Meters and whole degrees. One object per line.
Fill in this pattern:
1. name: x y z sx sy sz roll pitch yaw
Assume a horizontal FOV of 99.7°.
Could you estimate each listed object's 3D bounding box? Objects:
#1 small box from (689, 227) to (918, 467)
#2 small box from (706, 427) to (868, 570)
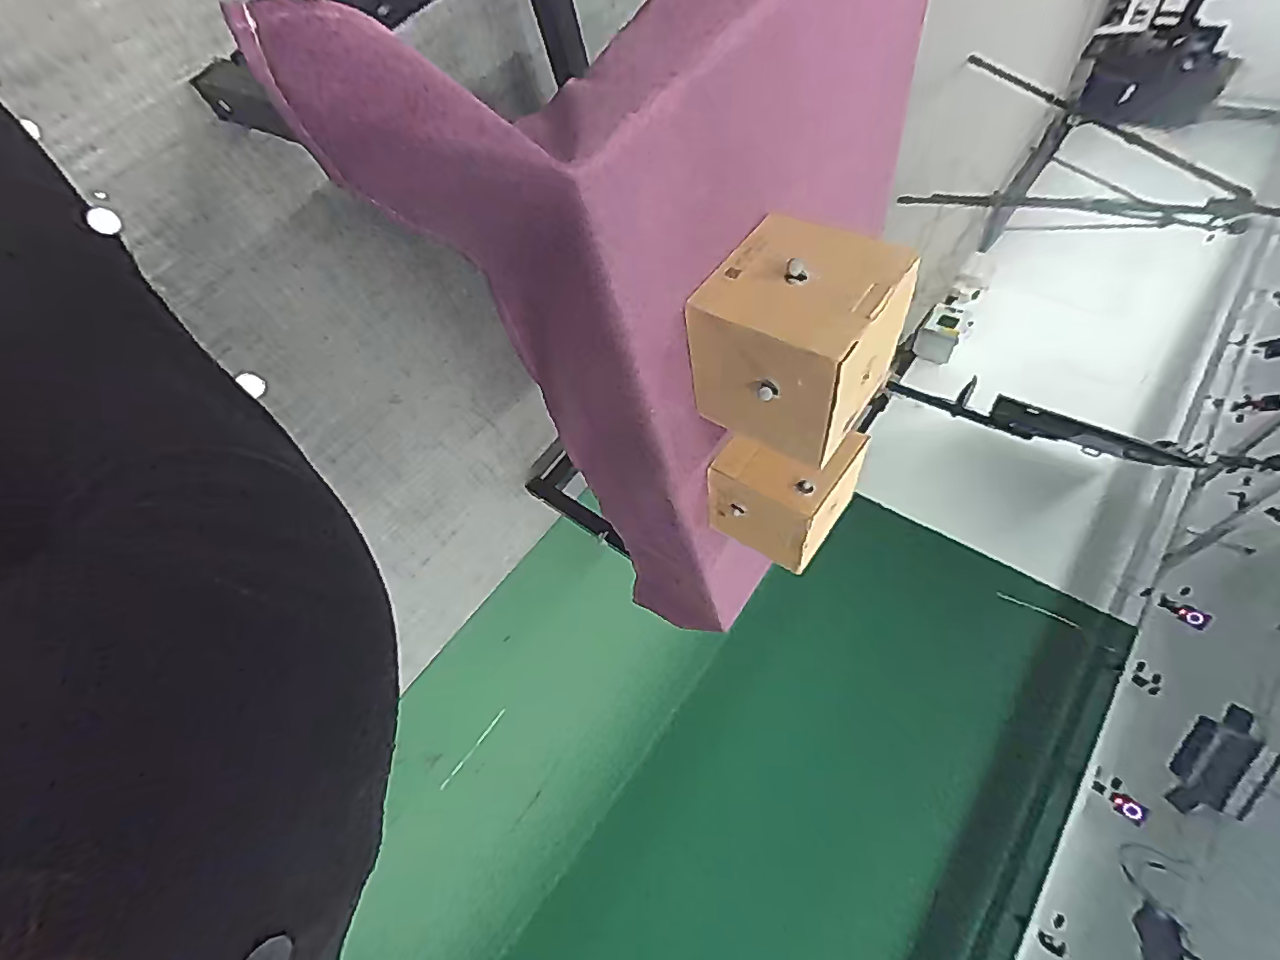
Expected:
1. small box: 0.168 -0.151 0.593 0.168 0.176 0.179 -49 151 -19
2. small box: 0.220 0.000 0.844 0.179 0.176 0.168 -46 150 -23
